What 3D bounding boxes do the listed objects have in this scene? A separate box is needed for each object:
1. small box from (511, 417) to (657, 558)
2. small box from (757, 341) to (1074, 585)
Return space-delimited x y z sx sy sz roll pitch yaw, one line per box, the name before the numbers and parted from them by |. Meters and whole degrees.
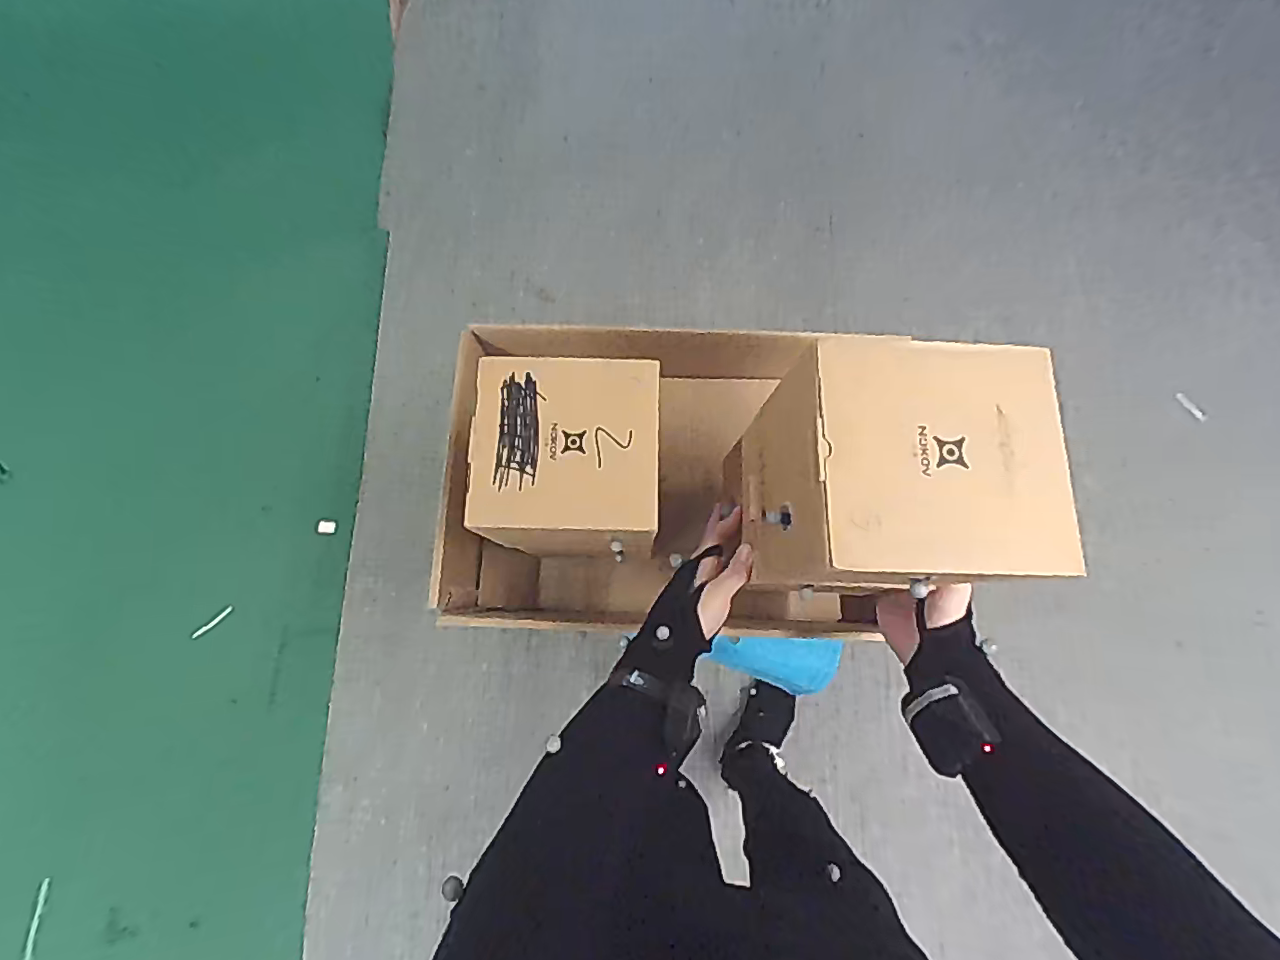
small box | -0.066 0.019 0.742 0.179 0.176 0.168 1 78 0
small box | 0.199 0.000 0.449 0.179 0.176 0.168 2 78 -2
